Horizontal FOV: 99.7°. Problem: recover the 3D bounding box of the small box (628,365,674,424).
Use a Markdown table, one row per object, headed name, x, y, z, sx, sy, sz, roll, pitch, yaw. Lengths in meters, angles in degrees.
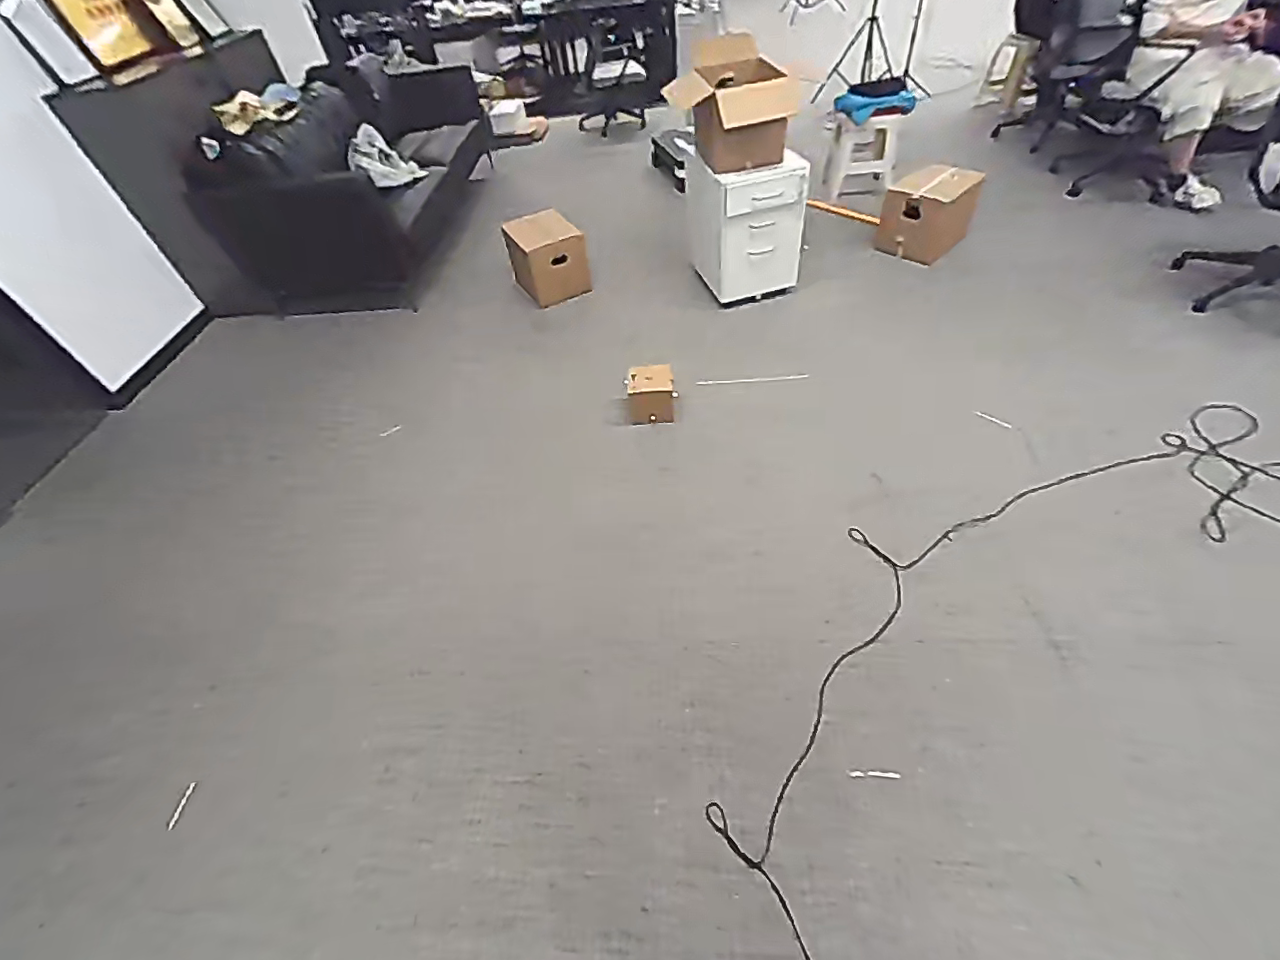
| name | x | y | z | sx | sy | sz | roll | pitch | yaw |
| --- | --- | --- | --- | --- | --- | --- | --- | --- | --- |
| small box | 0.048 | -0.345 | 2.194 | 0.179 | 0.176 | 0.168 | -3 | 48 | 5 |
